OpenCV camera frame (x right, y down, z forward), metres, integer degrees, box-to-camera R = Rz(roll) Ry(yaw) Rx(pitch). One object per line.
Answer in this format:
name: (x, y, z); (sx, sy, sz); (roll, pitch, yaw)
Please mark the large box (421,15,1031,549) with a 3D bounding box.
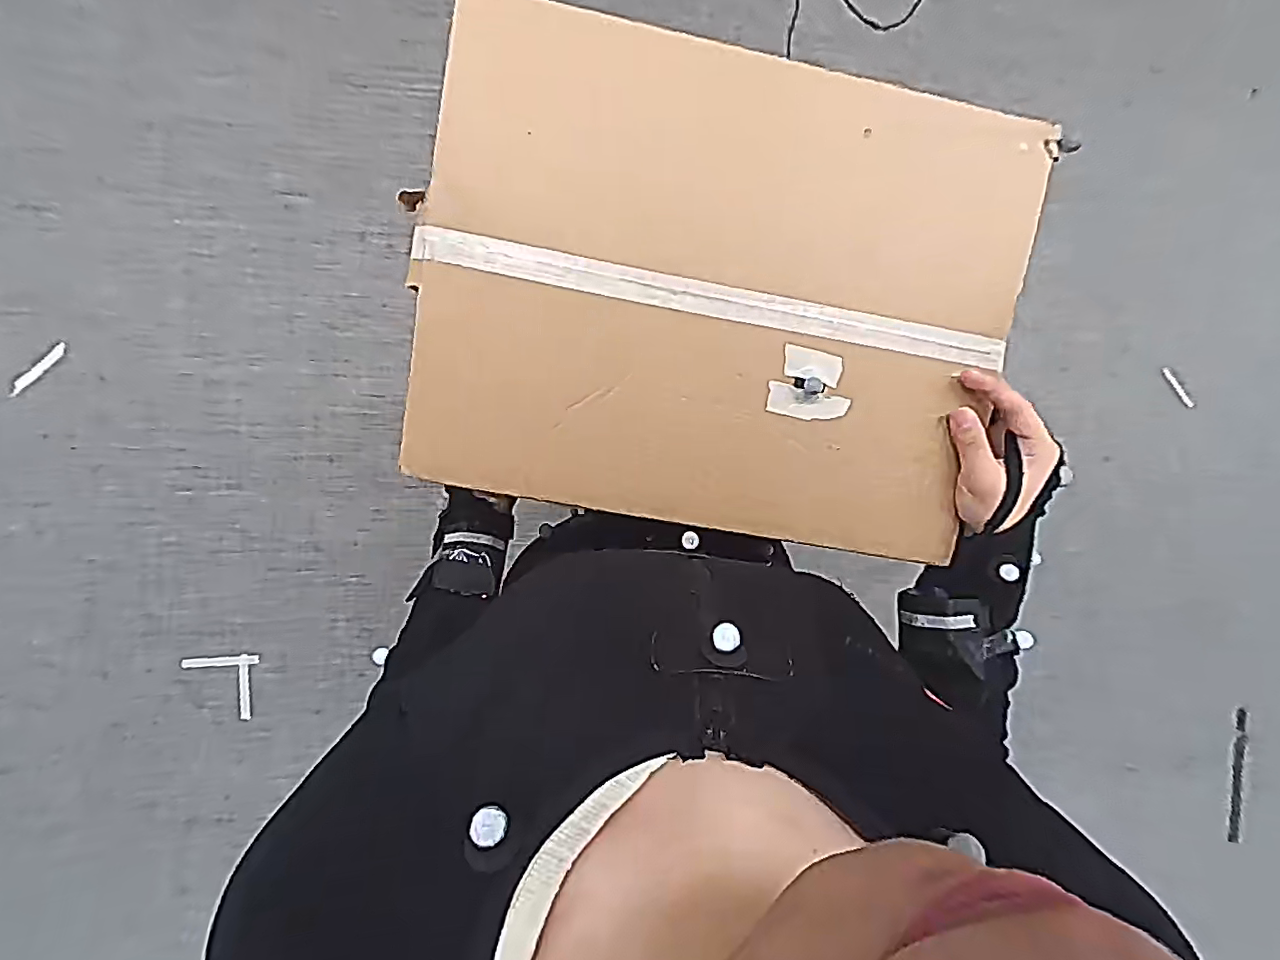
large box: (0.048, -0.141, 0.527); (0.408, 0.320, 0.320); (9, 98, -6)
